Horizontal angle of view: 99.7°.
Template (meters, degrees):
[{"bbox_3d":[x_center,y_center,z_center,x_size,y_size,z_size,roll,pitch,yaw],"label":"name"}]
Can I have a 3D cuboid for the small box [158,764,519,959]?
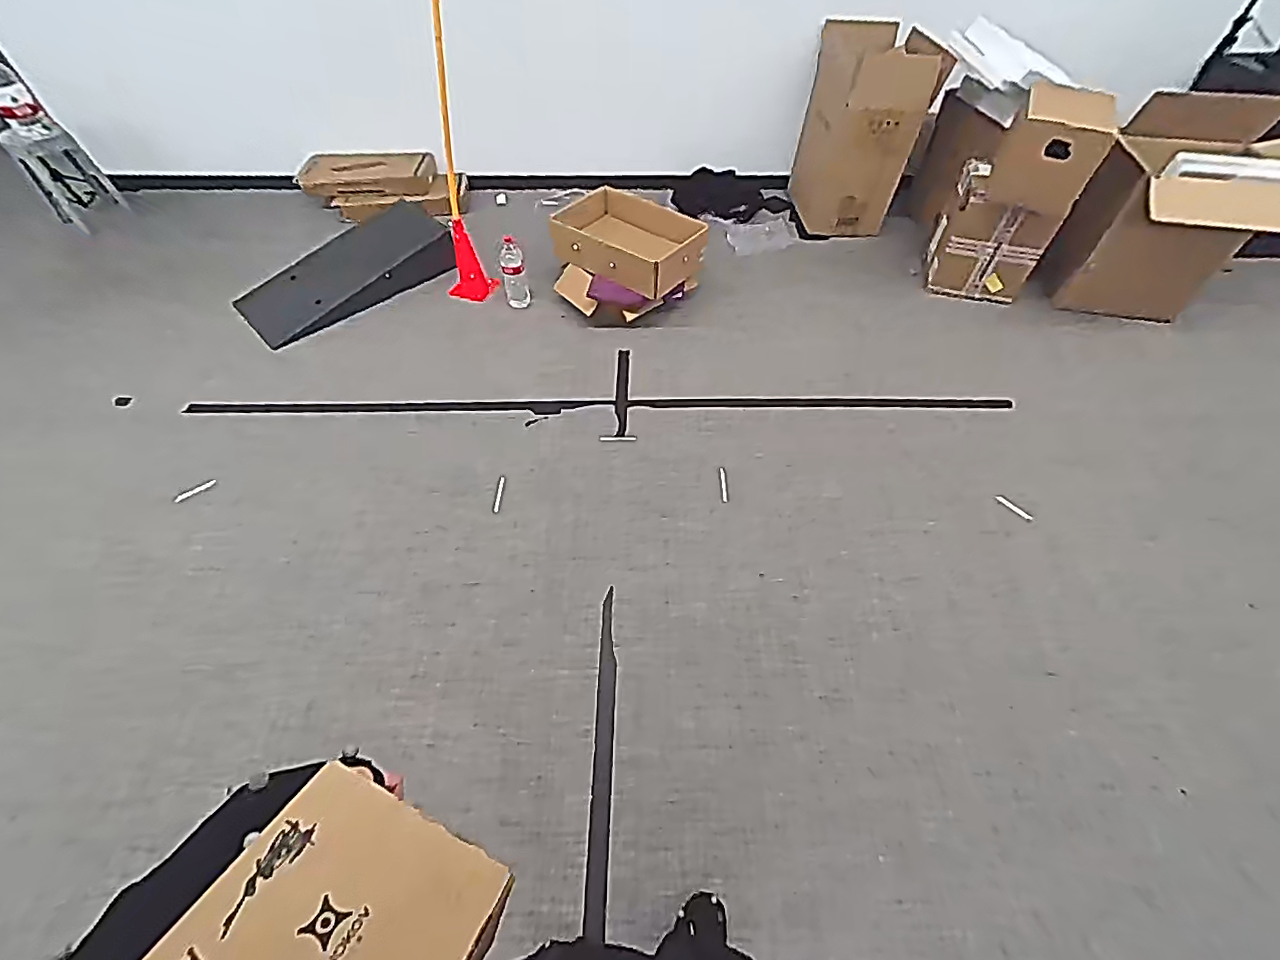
[{"bbox_3d":[-0.219,0.365,0.408,0.179,0.176,0.168,25,35,9],"label":"small box"}]
